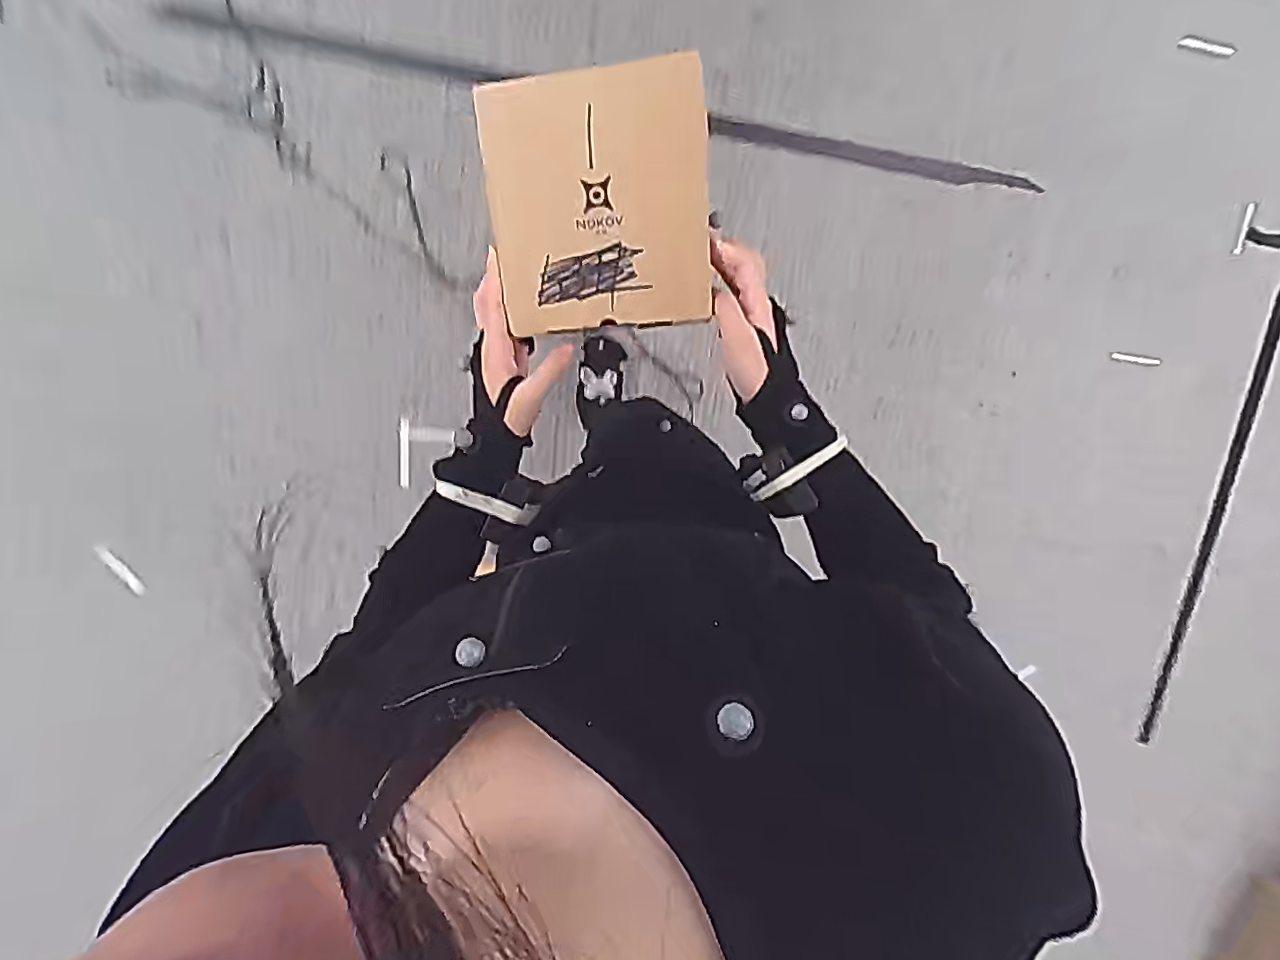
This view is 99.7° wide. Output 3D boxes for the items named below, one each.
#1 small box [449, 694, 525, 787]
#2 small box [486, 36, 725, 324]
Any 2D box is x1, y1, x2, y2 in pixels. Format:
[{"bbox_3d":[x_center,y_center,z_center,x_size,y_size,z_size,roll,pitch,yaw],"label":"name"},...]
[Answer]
[{"bbox_3d":[-0.412,0.706,1.479,0.179,0.176,0.168,0,102,-7],"label":"small box"},{"bbox_3d":[-0.011,-0.234,0.466,0.168,0.176,0.179,-1,108,8],"label":"small box"}]
